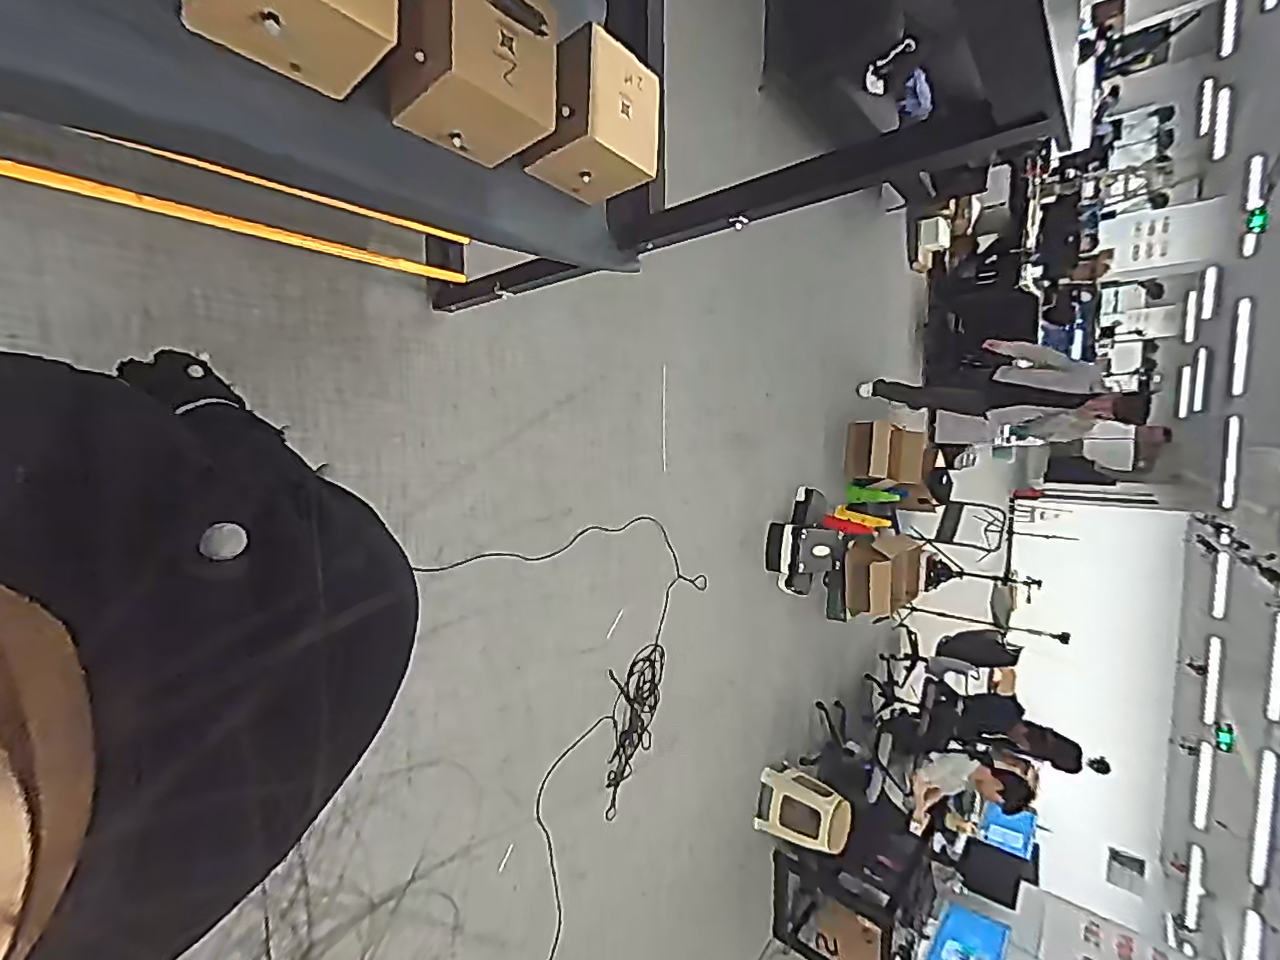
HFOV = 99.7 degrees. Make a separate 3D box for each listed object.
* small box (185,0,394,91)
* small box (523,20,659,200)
[{"bbox_3d":[-0.388,-0.582,0.597,0.168,0.176,0.179,-1,94,-49],"label":"small box"},{"bbox_3d":[-0.087,-0.617,0.934,0.168,0.176,0.179,1,92,-49],"label":"small box"}]
